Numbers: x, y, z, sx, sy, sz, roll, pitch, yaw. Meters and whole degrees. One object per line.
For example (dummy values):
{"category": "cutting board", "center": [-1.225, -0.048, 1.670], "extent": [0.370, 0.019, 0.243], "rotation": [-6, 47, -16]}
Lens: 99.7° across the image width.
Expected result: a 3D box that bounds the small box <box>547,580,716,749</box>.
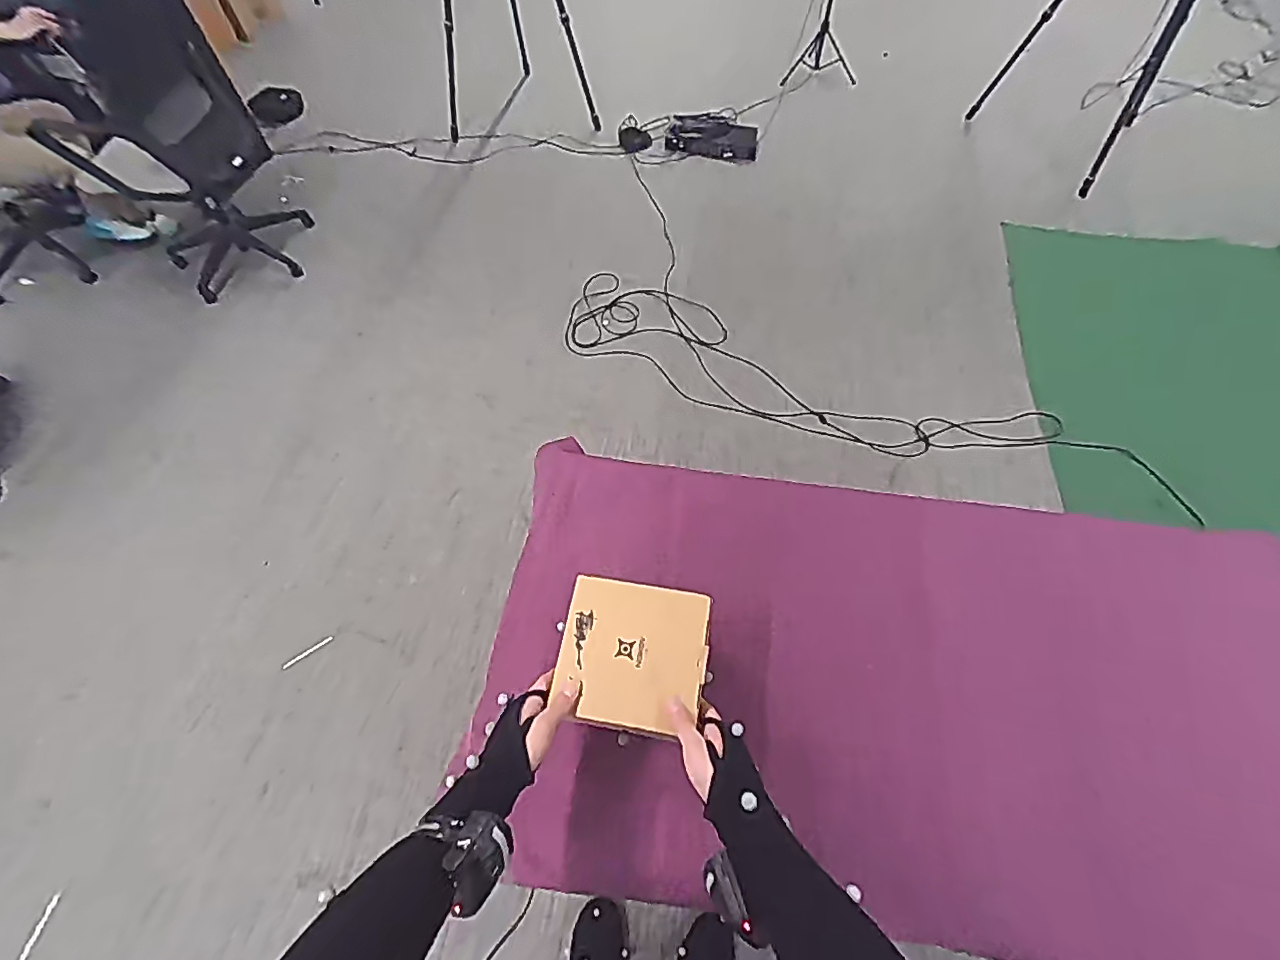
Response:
{"category": "small box", "center": [-0.005, 0.247, 0.711], "extent": [0.179, 0.176, 0.168], "rotation": [9, 63, 6]}
